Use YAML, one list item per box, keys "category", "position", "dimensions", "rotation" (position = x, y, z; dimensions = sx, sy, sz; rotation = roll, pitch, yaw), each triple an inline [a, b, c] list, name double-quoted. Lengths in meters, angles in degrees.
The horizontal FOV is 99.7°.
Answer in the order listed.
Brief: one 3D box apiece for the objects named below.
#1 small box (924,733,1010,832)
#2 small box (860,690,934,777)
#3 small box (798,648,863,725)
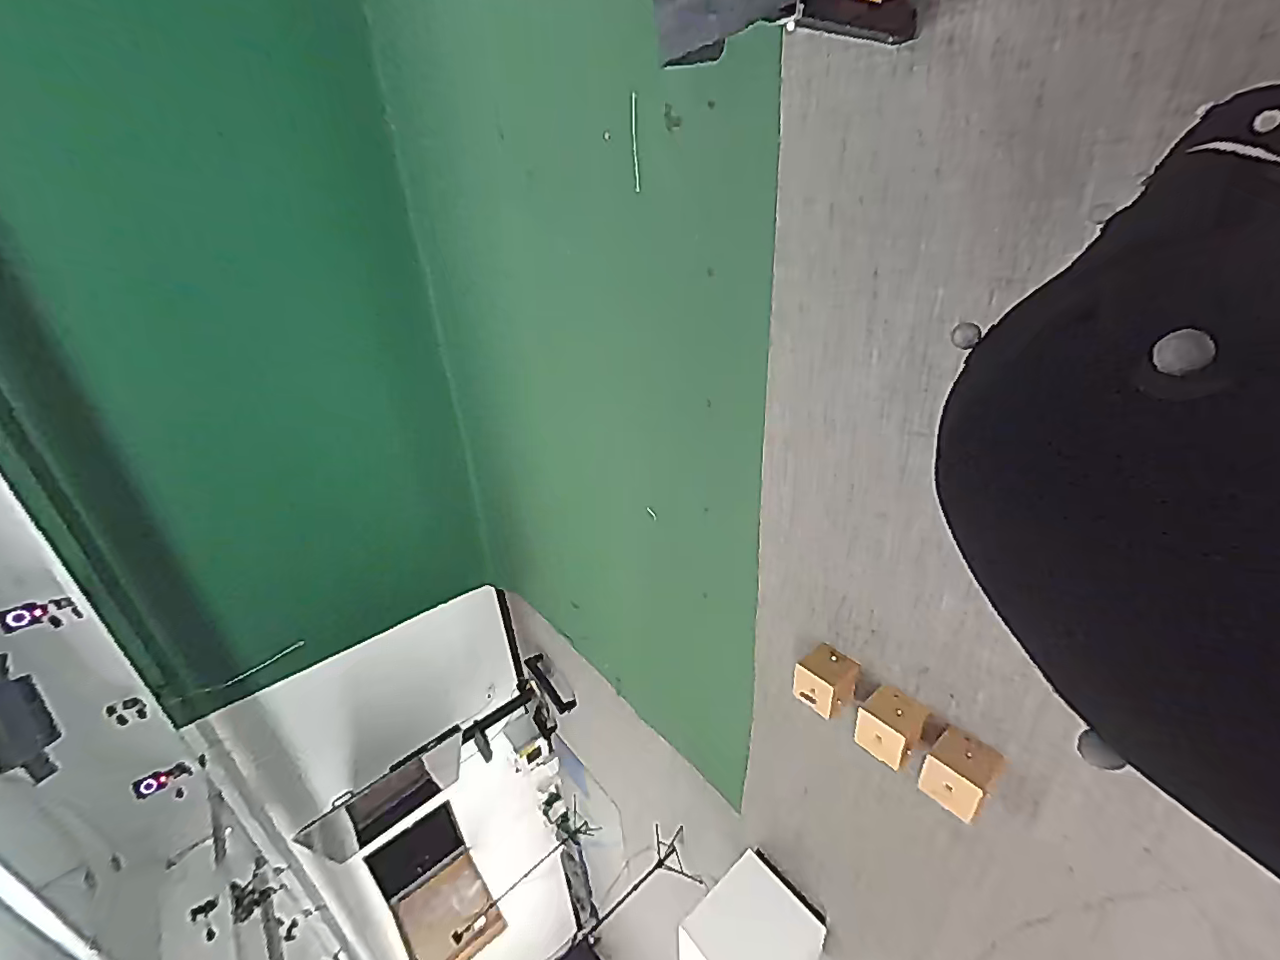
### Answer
- category: "small box"
  position: [1.036, 0.947, 1.710]
  dimensions: [0.168, 0.176, 0.179]
  rotation: [28, 131, 45]
- category: "small box"
  position: [0.892, 0.872, 1.876]
  dimensions: [0.168, 0.176, 0.179]
  rotation: [26, 129, 46]
- category: "small box"
  position: [0.725, 0.782, 2.059]
  dimensions: [0.168, 0.176, 0.179]
  rotation: [27, 129, 45]
